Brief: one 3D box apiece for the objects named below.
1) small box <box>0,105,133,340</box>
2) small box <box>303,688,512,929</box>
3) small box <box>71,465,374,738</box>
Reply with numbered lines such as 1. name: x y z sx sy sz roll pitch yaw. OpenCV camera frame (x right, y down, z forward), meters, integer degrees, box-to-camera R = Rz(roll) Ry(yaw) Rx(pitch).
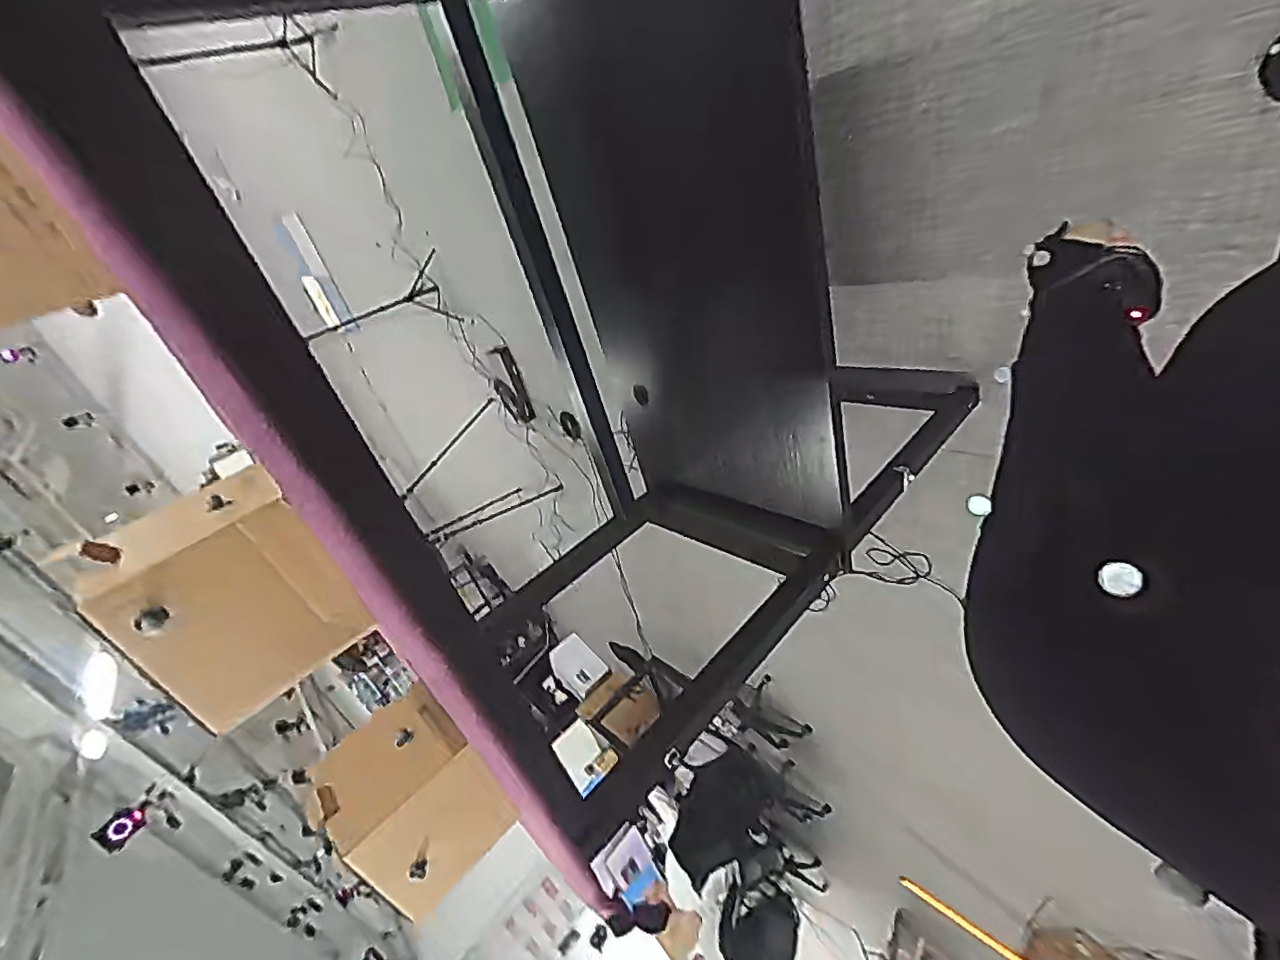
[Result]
1. small box: -0.510 -0.189 0.381 0.179 0.176 0.168 26 142 43
2. small box: -0.297 0.419 0.714 0.168 0.176 0.179 16 133 46
3. small box: -0.407 0.111 0.555 0.168 0.176 0.179 19 135 48
